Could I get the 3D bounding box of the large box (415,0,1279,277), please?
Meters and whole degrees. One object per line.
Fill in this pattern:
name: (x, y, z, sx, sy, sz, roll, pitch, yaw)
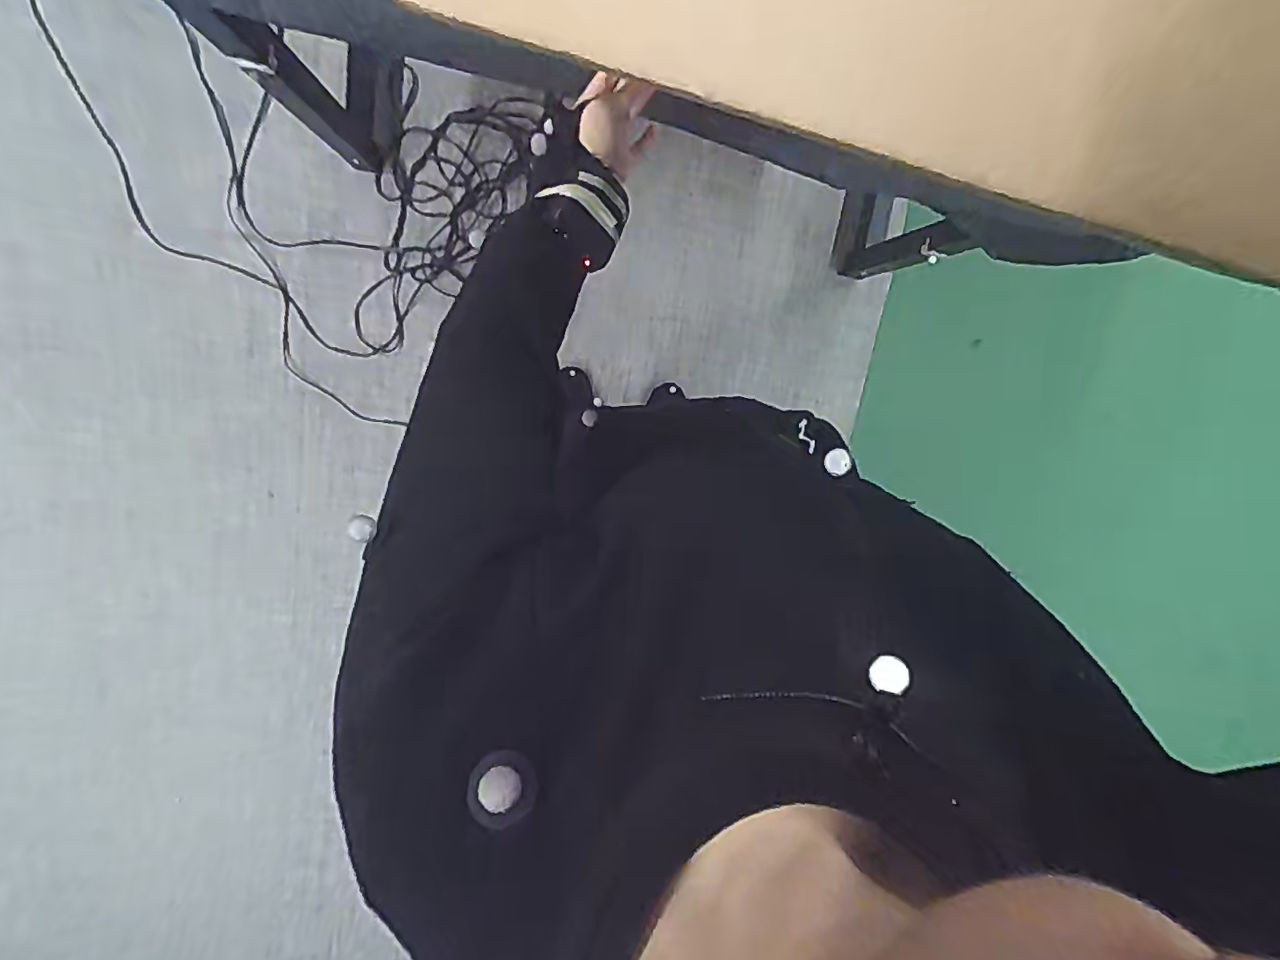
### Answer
large box: (0.149, -0.336, 0.264, 0.408, 0.320, 0.320, 22, 126, 10)
